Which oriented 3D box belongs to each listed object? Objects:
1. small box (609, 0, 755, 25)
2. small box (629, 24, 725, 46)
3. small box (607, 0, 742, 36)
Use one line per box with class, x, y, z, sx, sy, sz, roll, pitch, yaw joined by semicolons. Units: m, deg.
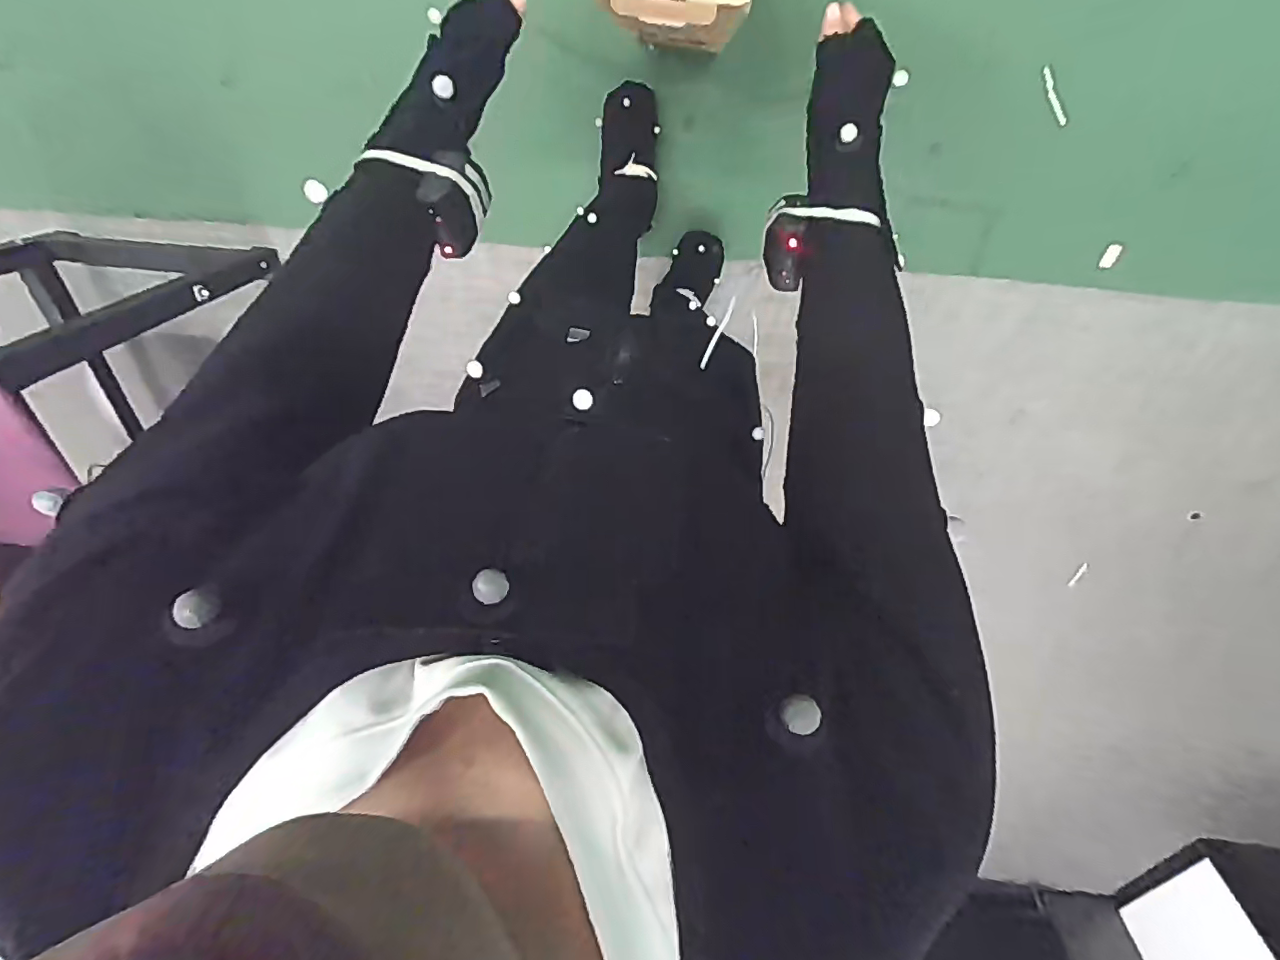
small box;0.042;-0.571;0.524;0.168;0.176;0.179;7;127;0
small box;0.077;-0.859;0.922;0.168;0.176;0.179;6;128;1
small box;0.053;-0.667;0.657;0.168;0.176;0.179;7;127;0
